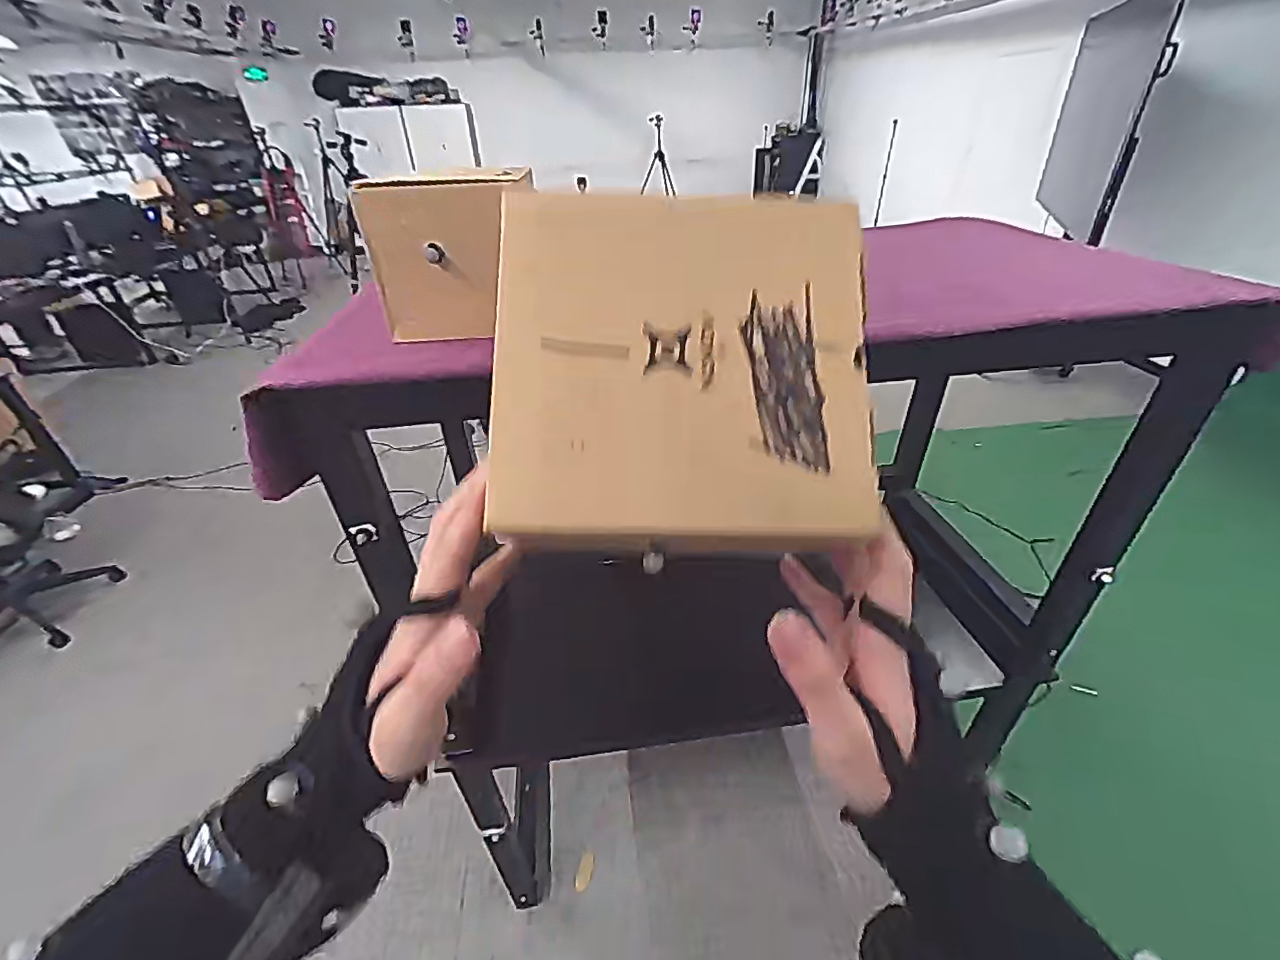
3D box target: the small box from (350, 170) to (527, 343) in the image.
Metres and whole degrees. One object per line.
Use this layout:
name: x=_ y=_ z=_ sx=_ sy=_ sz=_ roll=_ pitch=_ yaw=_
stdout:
small box: x=-0.214 y=-0.276 z=0.666 sx=0.179 sy=0.176 sz=0.168 roll=-5 pitch=34 yaw=-3

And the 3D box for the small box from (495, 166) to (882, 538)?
small box: x=0.020 y=-0.054 z=0.331 sx=0.179 sy=0.168 sz=0.176 roll=1 pitch=-10 yaw=-3
